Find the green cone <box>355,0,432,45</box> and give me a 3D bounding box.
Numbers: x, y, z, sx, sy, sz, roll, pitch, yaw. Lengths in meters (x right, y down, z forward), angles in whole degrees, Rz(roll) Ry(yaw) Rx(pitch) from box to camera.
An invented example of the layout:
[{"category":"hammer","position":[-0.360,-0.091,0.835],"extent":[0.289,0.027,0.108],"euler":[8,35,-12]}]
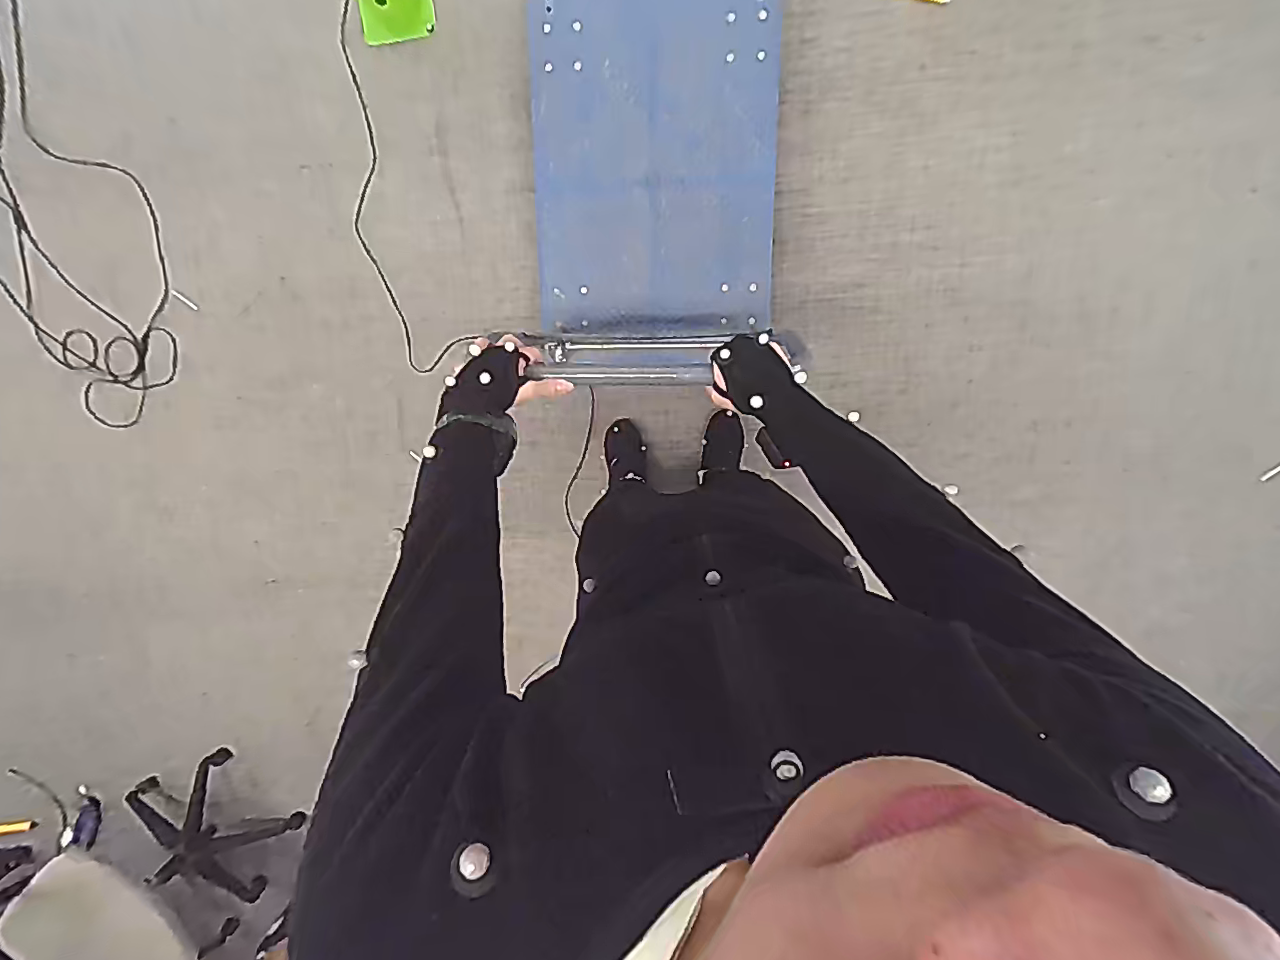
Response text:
[{"category":"green cone","position":[-0.667,-1.222,1.235],"extent":[0.202,0.368,0.200],"euler":[-5,101,8]}]
